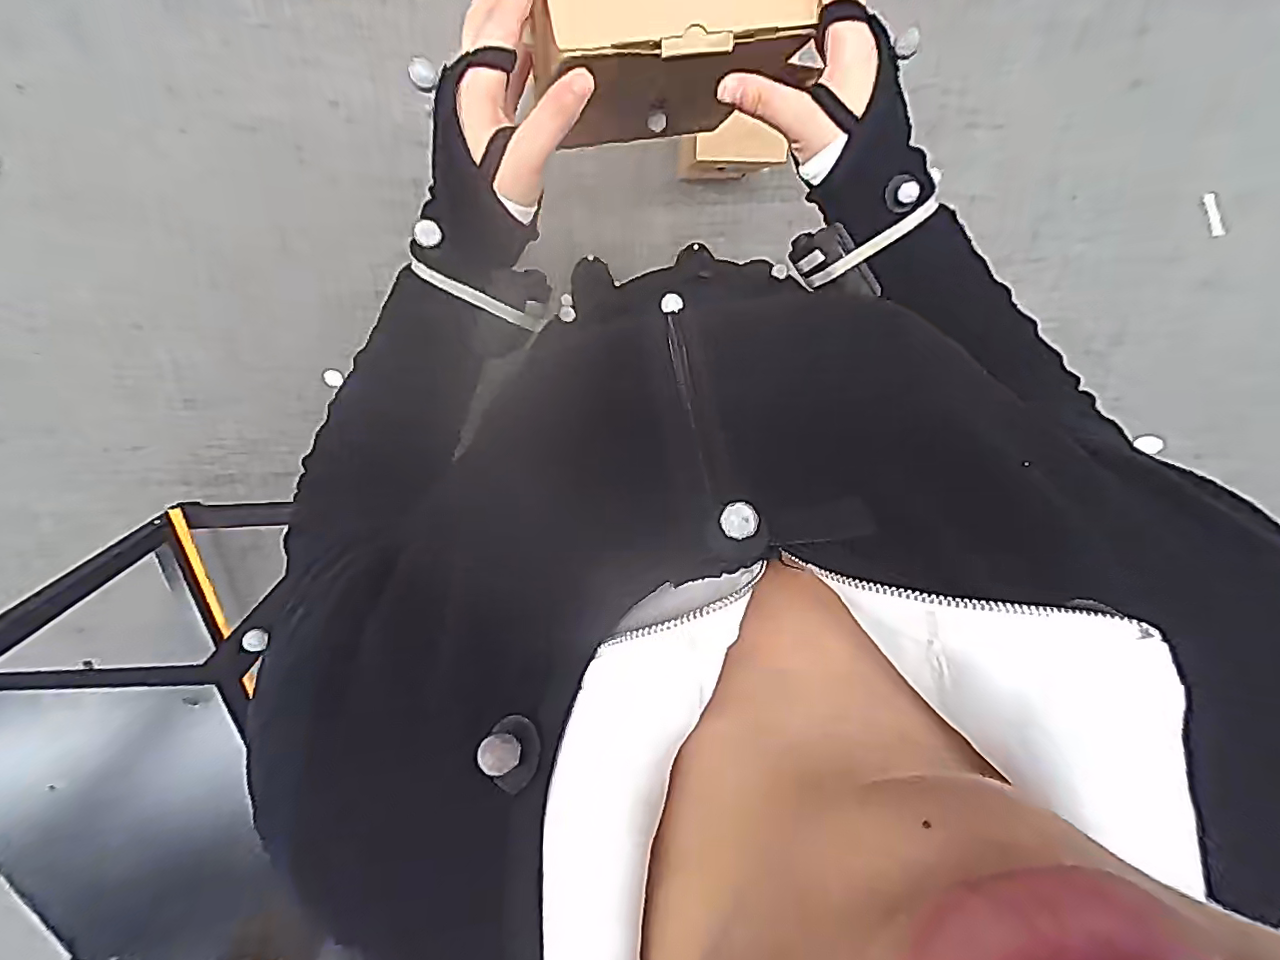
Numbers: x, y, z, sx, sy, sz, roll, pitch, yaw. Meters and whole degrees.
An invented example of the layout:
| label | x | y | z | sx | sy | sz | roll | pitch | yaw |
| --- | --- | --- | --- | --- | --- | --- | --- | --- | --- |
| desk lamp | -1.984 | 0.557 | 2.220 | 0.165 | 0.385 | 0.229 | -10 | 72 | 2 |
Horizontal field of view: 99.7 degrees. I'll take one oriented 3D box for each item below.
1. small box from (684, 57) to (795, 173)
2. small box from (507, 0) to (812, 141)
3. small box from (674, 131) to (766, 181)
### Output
| label | x | y | z | sx | sy | sz | roll | pitch | yaw |
| --- | --- | --- | --- | --- | --- | --- | --- | --- | --- |
| small box | 0.174 | -0.682 | 1.009 | 0.168 | 0.176 | 0.179 | 0 | 117 | -2 |
| small box | -0.003 | -0.354 | 0.371 | 0.168 | 0.176 | 0.179 | -14 | 109 | -11 |
| small box | 0.170 | -0.742 | 1.161 | 0.179 | 0.176 | 0.168 | -2 | 116 | -2 |
